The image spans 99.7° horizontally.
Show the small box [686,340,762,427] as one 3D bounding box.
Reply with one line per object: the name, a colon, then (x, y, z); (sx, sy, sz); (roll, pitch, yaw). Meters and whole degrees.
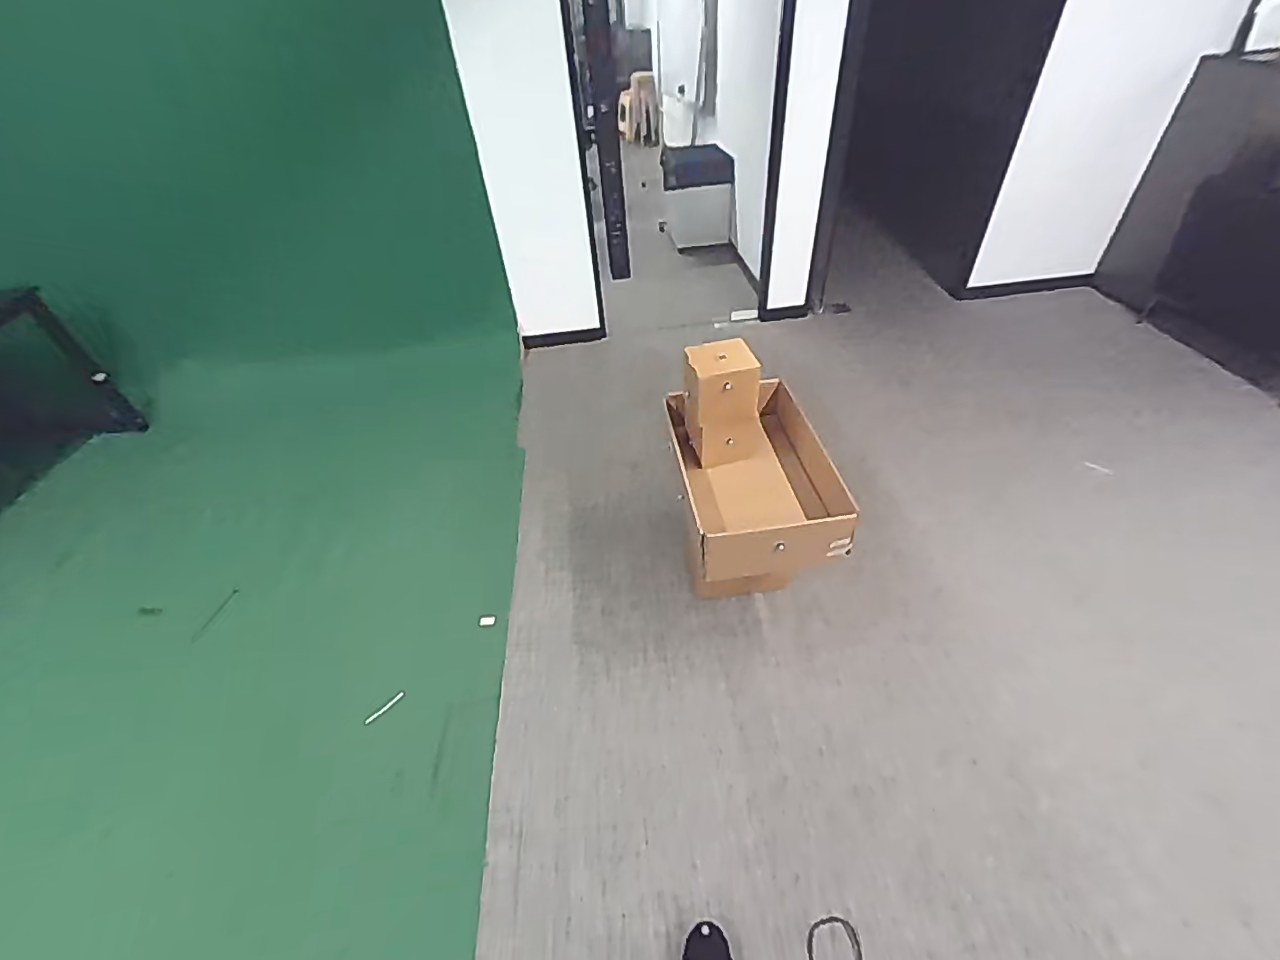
small box: (0.234, -0.276, 1.551); (0.179, 0.176, 0.168); (-11, 43, -5)
